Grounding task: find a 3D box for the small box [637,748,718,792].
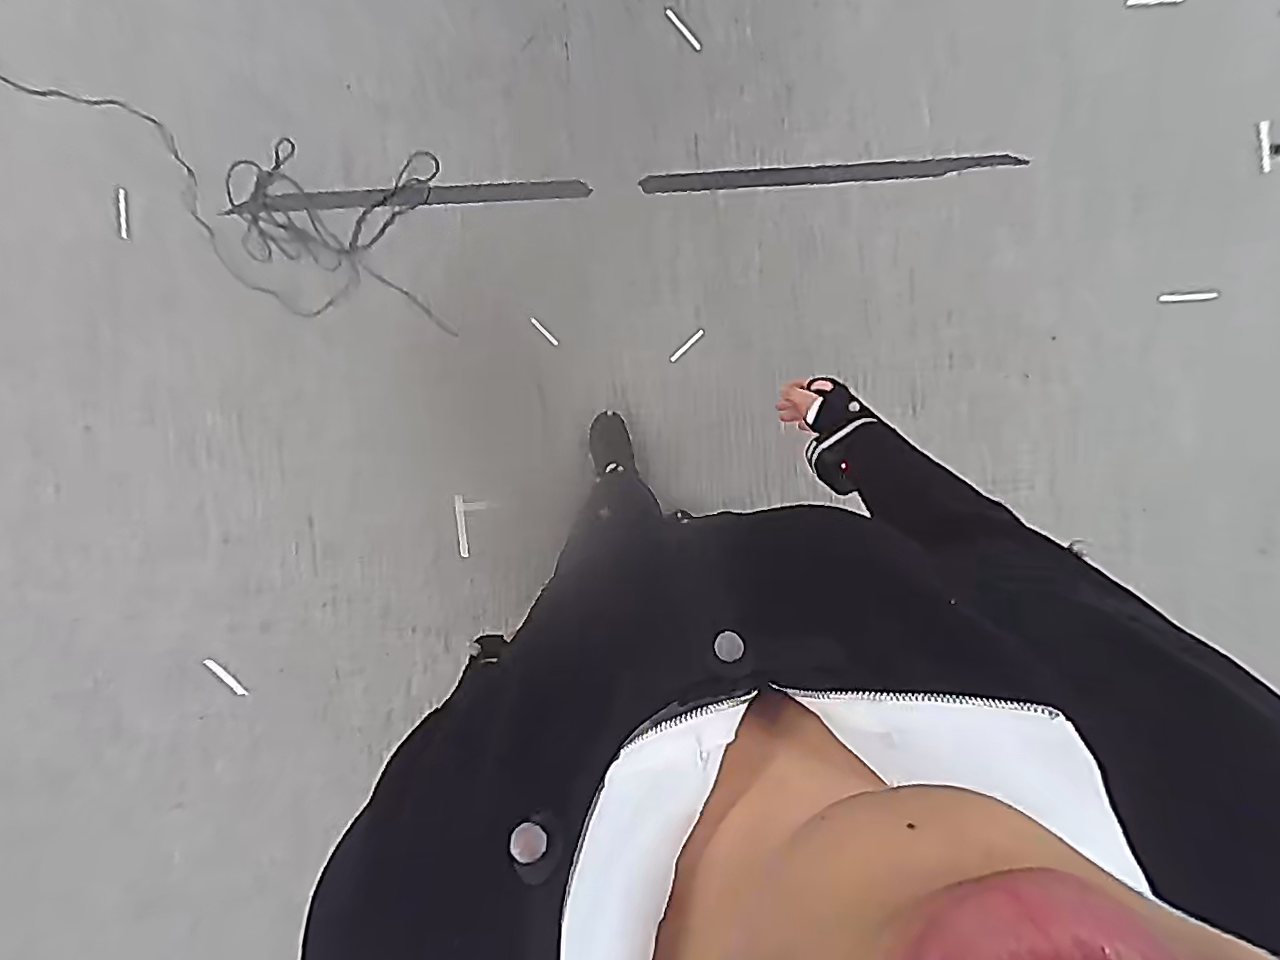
[{"bbox_3d":[0.087,0.708,1.235,0.179,0.176,0.168,-7,90,1],"label":"small box"}]
